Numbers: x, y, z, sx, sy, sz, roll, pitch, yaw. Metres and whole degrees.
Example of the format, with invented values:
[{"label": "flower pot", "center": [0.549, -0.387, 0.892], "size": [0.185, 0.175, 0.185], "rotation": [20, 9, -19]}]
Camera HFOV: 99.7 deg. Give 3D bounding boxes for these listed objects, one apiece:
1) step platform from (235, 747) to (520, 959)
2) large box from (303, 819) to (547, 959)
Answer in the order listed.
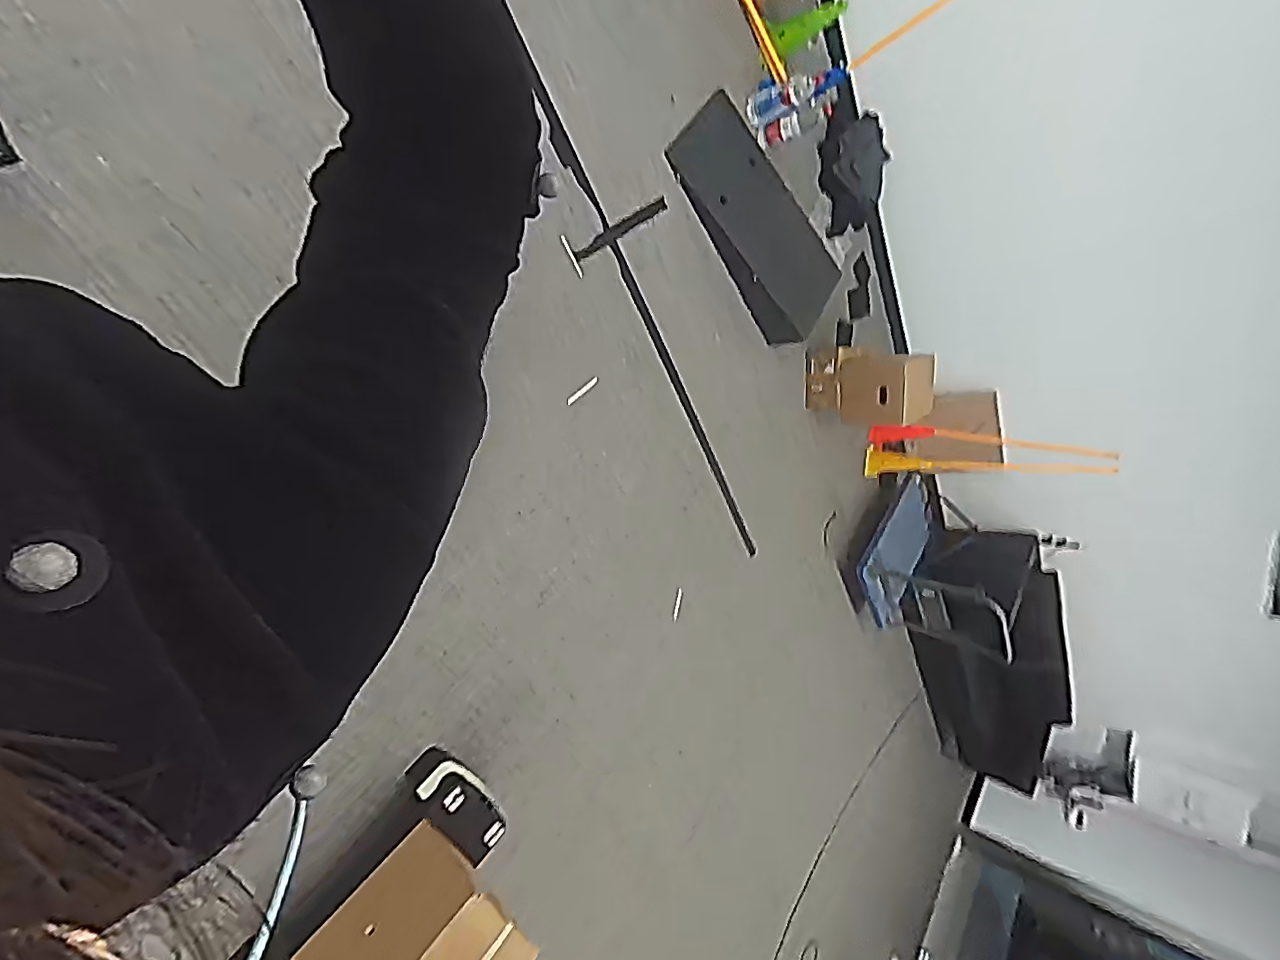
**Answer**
[{"label": "step platform", "center": [-0.654, 1.087, 1.444], "size": [0.684, 0.204, 0.286], "rotation": [-41, 120, -33]}, {"label": "large box", "center": [-0.508, 1.122, 1.257], "size": [0.408, 0.320, 0.320], "rotation": [-43, 122, -33]}]
